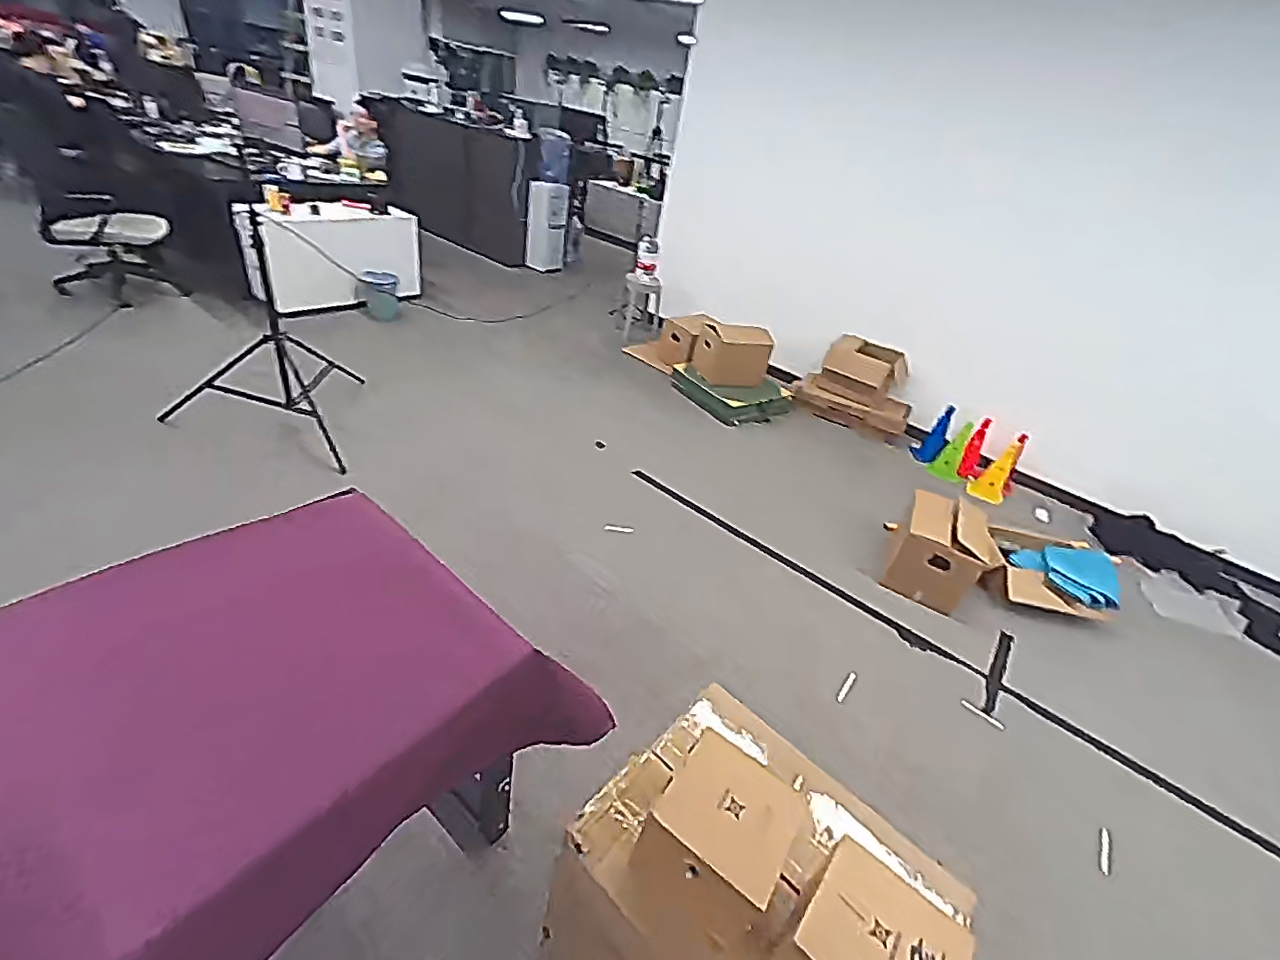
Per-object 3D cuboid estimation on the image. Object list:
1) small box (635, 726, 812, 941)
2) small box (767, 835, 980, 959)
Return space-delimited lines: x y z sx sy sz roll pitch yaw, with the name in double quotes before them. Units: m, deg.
"small box" 0.113 0.510 0.783 0.179 0.176 0.168 30 39 23
"small box" 0.283 0.611 0.683 0.179 0.176 0.168 31 38 29
